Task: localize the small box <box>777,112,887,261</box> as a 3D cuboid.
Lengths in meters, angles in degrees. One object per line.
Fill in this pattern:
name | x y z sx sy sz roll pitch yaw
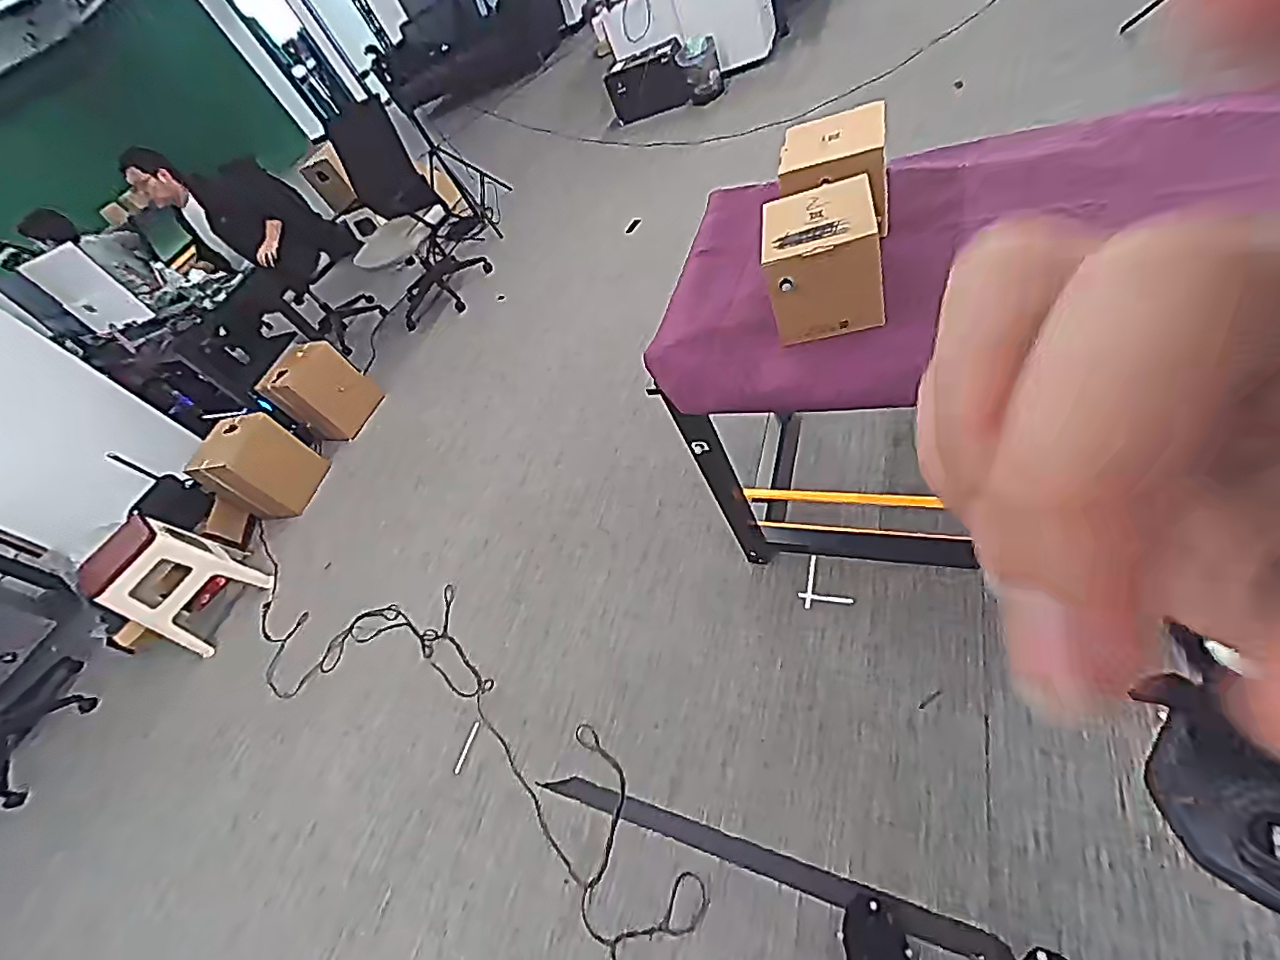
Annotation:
small box | 0.369 -0.544 1.020 0.179 0.176 0.168 -1 54 26
